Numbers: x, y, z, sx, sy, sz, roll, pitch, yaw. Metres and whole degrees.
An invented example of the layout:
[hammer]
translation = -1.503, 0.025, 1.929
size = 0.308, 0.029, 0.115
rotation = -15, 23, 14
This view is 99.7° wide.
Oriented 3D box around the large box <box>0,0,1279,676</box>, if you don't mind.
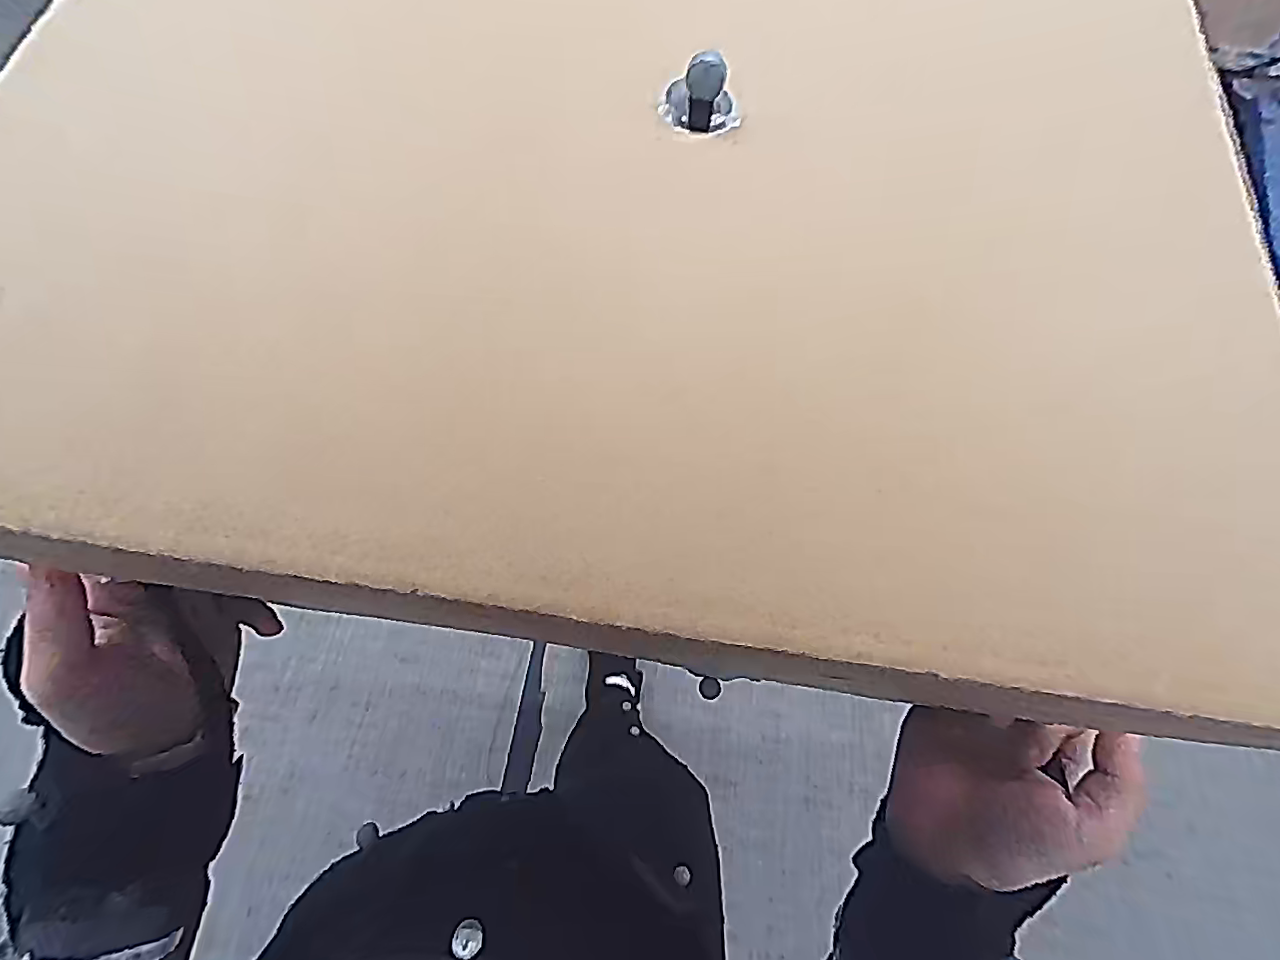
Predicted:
[large box]
translation = 0.003, -0.079, 0.320
size = 0.408, 0.320, 0.320
rotation = 9, 72, -2
